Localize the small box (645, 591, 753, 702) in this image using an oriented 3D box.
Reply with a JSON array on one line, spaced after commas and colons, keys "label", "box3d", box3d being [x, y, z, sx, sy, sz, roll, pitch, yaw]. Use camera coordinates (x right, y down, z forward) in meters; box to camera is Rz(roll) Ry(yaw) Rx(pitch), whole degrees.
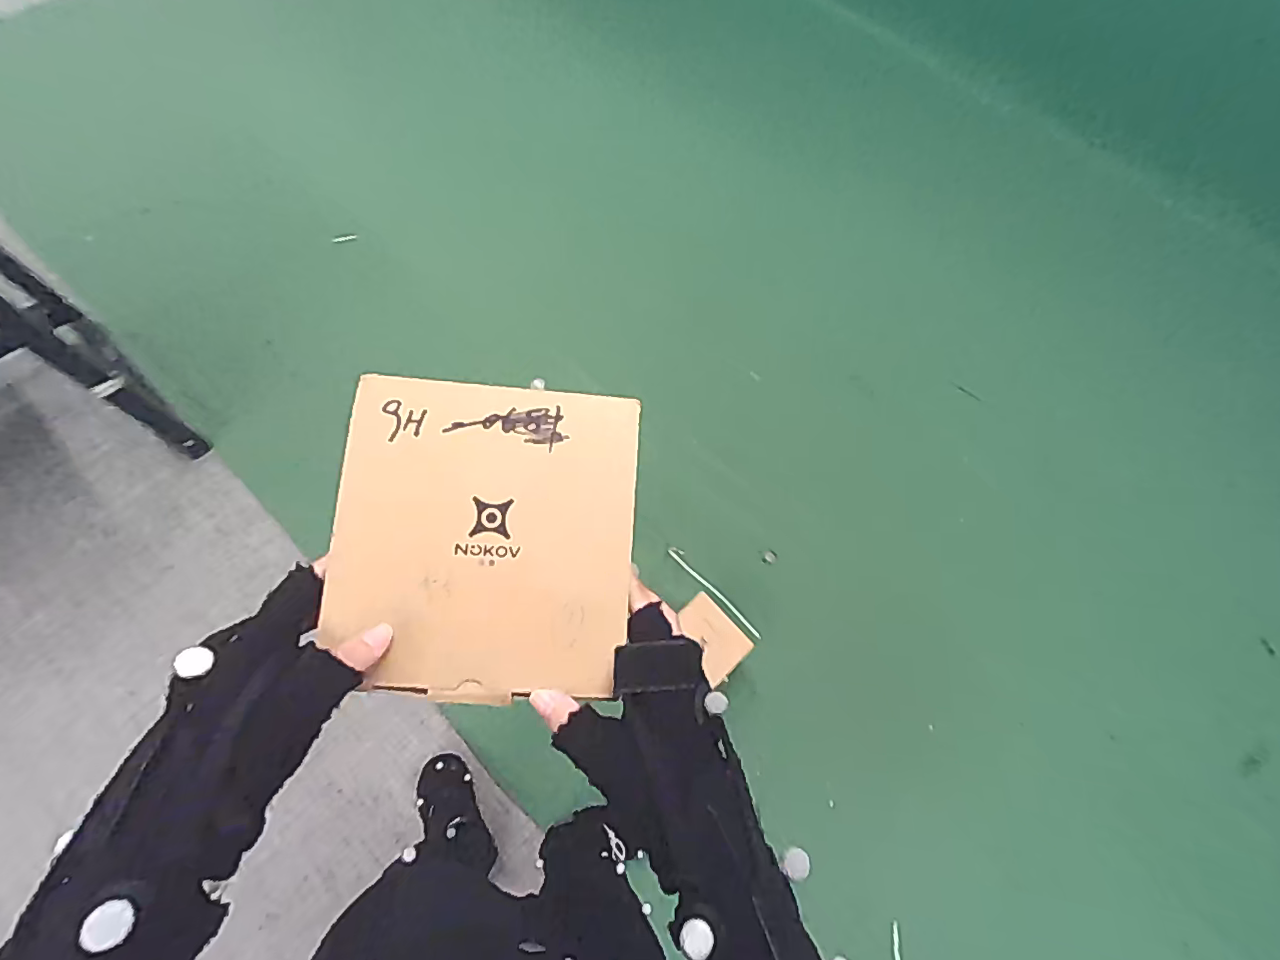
[{"label": "small box", "box3d": [0.125, 0.385, 1.237, 0.179, 0.176, 0.168, -37, 77, -19]}]
